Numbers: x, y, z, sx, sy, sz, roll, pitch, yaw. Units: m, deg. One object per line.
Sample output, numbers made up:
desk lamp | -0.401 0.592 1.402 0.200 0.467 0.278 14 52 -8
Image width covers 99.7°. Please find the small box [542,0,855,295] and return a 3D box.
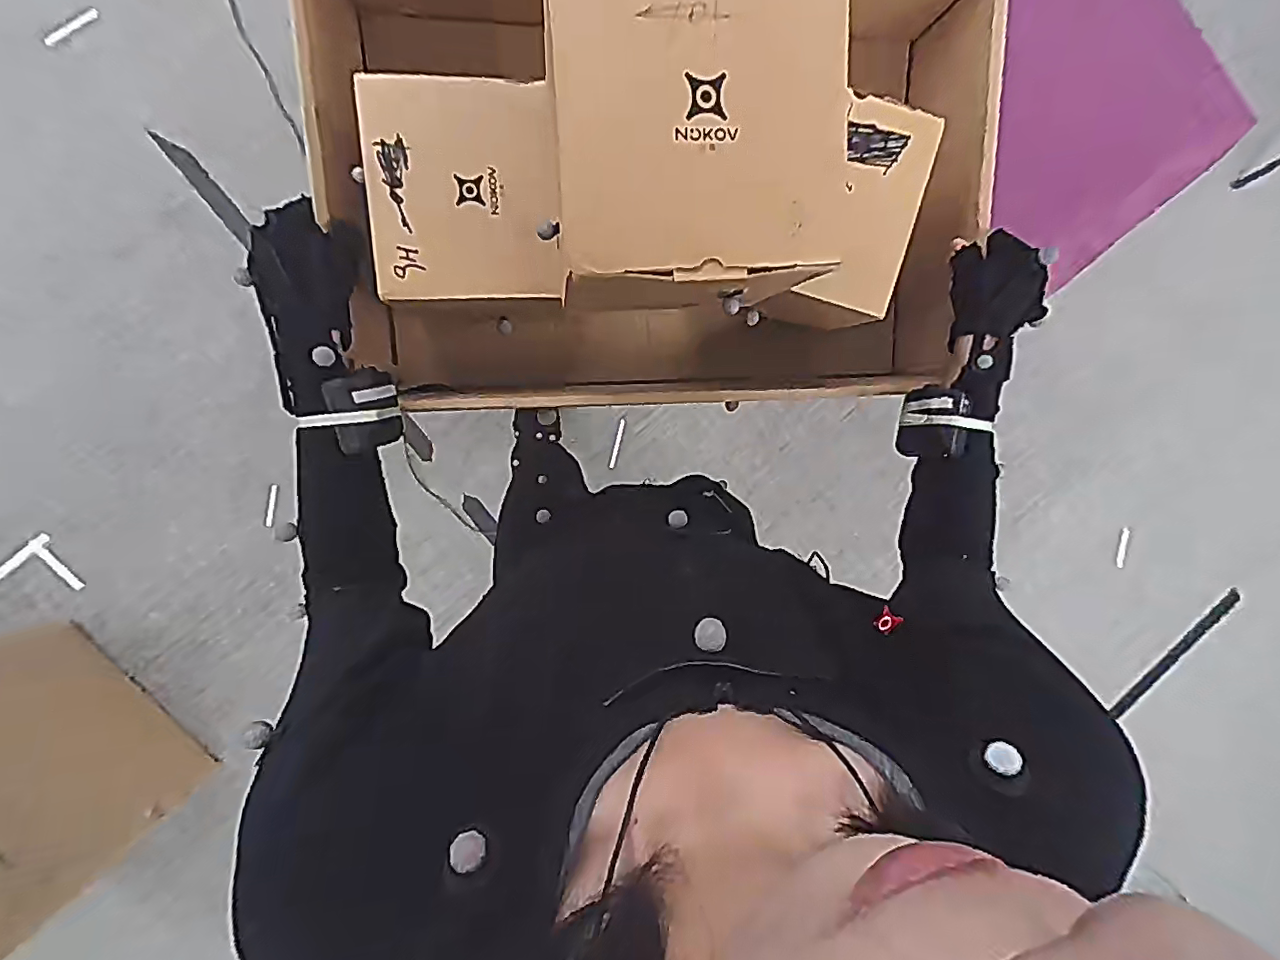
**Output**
small box | 0.024 -0.224 0.364 0.168 0.176 0.179 -5 100 -8
